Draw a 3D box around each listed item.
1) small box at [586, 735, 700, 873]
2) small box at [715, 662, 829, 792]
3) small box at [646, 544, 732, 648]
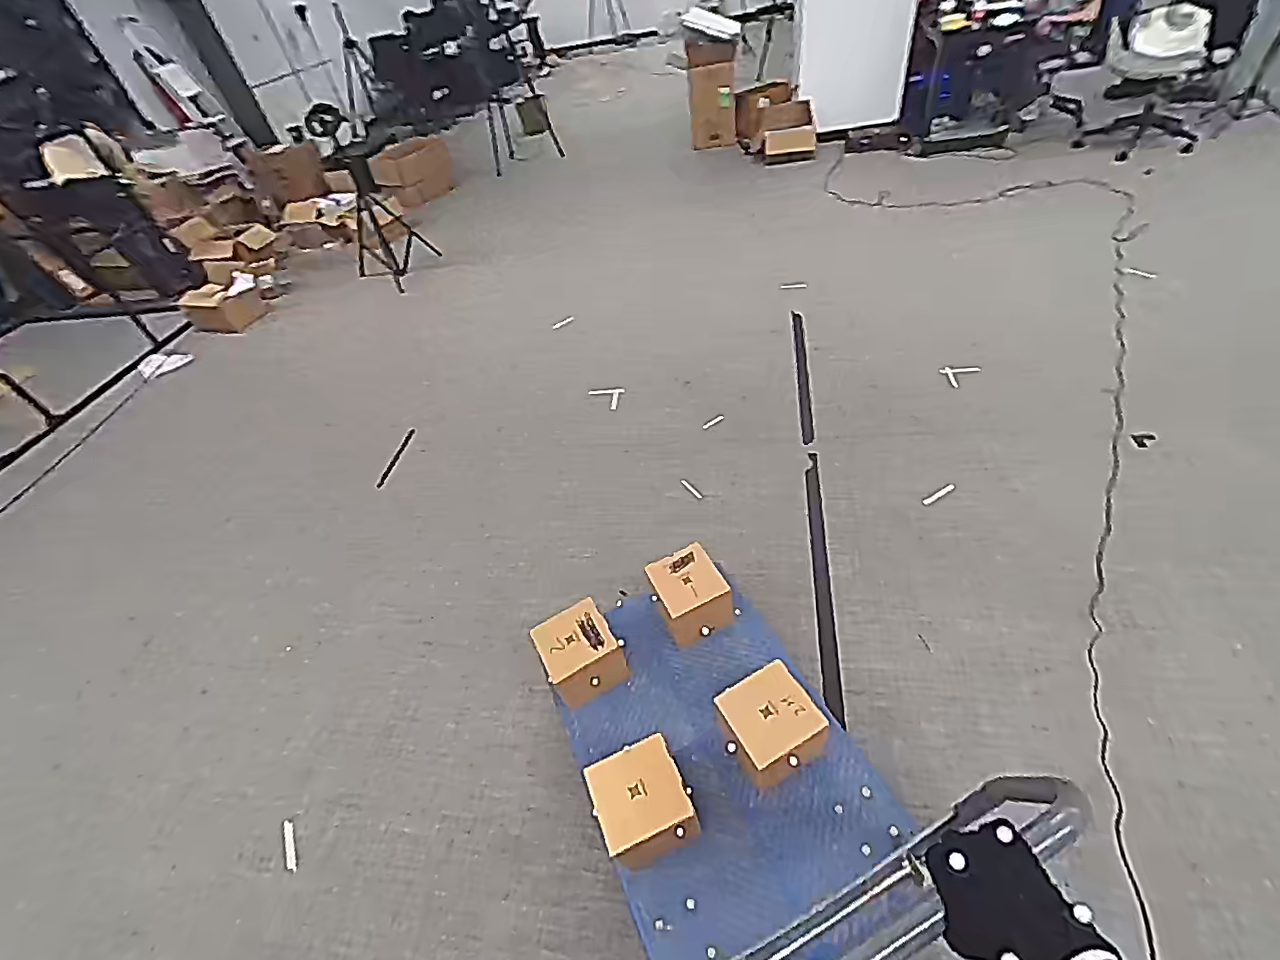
[{"bbox_3d":[0.010,0.667,1.109,0.179,0.176,0.168,-22,45,-11],"label":"small box"},{"bbox_3d":[0.284,0.538,1.172,0.179,0.176,0.168,-26,46,-13],"label":"small box"},{"bbox_3d":[0.131,0.309,1.431,0.168,0.176,0.179,-24,47,-11],"label":"small box"}]
